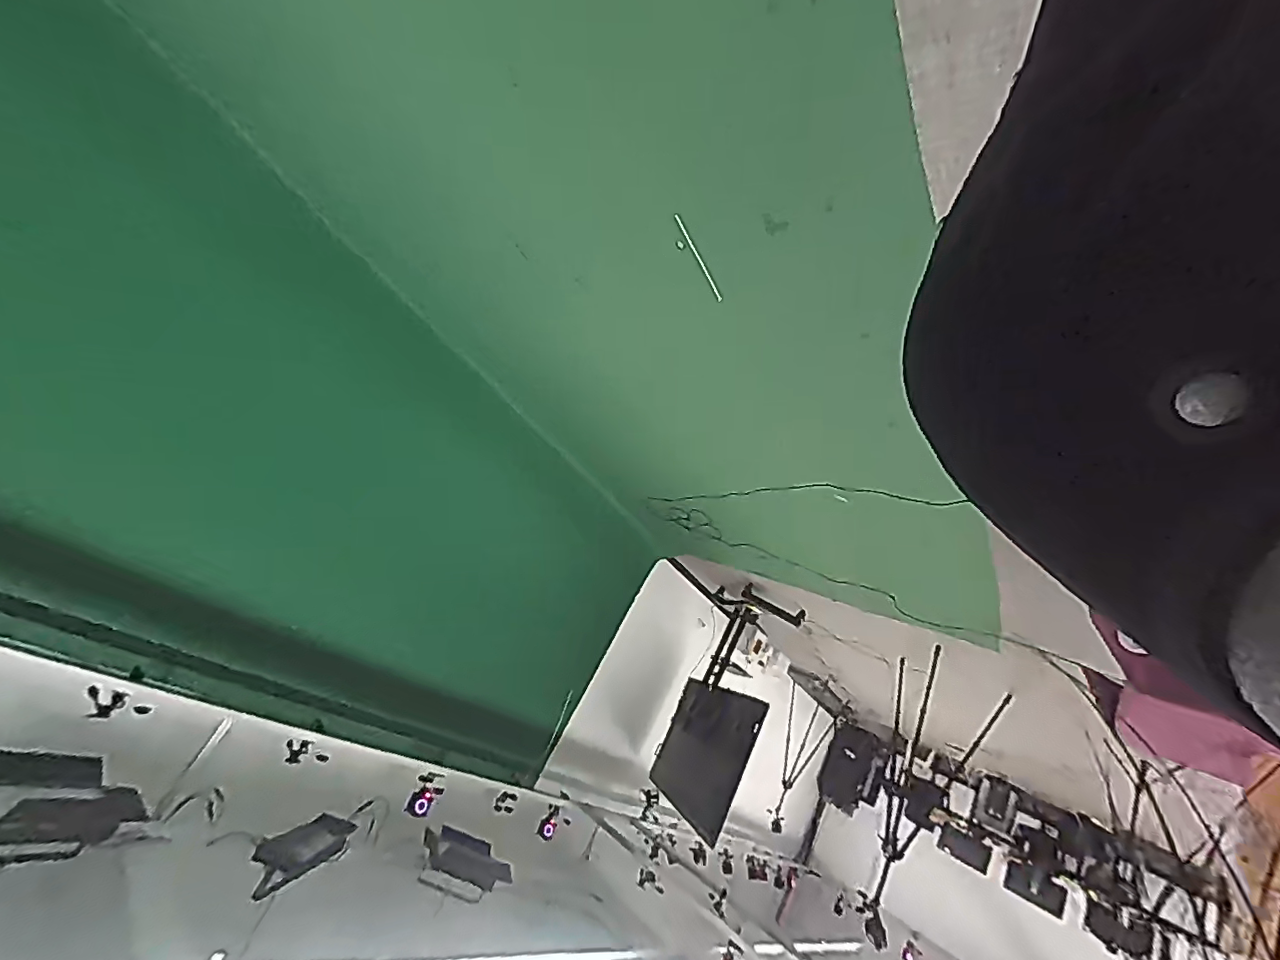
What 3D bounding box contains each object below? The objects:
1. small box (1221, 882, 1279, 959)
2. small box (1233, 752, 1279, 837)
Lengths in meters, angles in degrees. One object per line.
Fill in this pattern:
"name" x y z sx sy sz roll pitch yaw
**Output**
"small box" 1.555 1.111 1.308 0.168 0.176 0.179 11 153 40
"small box" 1.709 0.842 1.421 0.168 0.176 0.179 13 155 39
